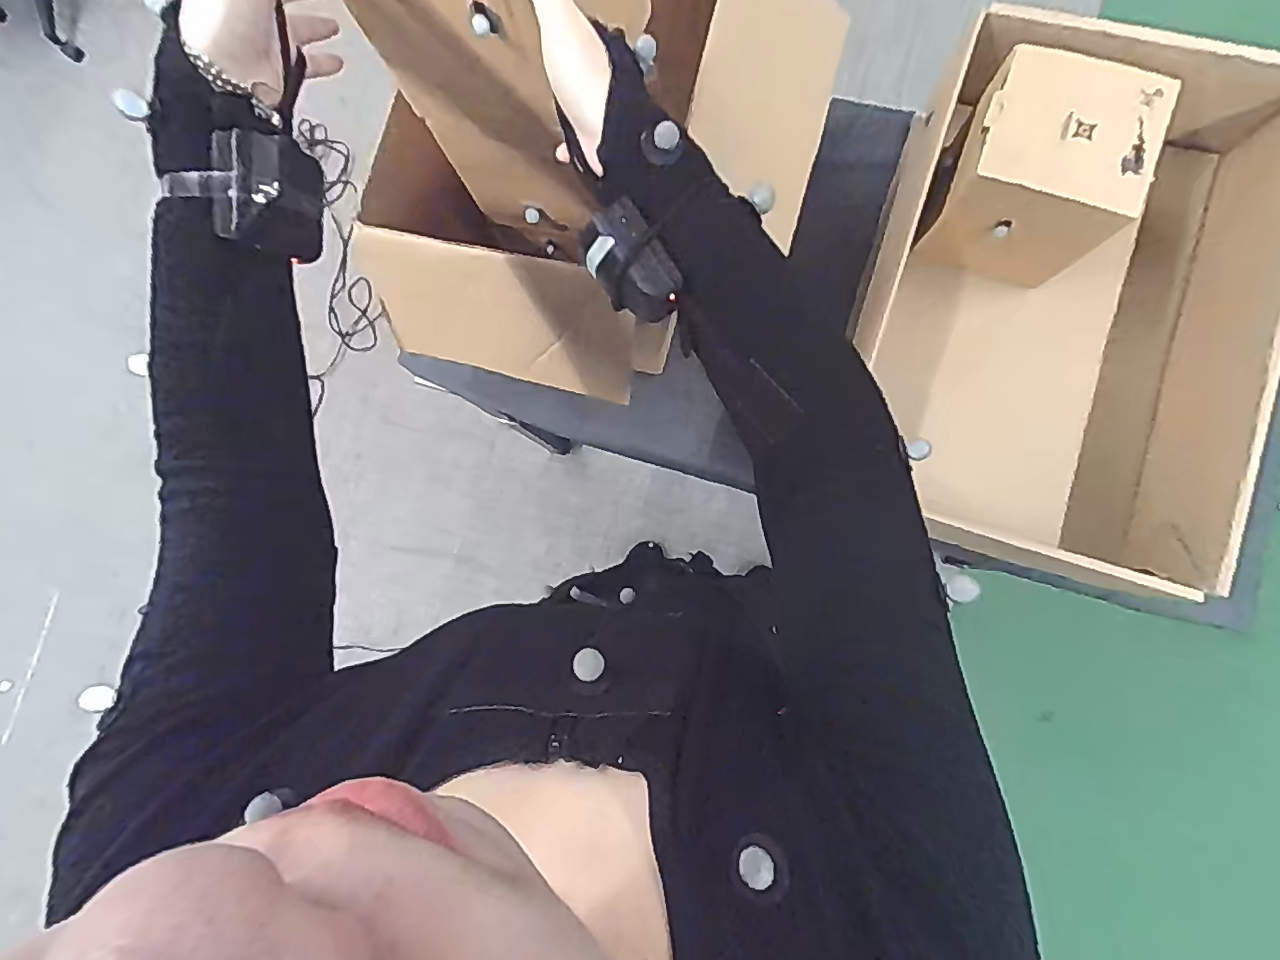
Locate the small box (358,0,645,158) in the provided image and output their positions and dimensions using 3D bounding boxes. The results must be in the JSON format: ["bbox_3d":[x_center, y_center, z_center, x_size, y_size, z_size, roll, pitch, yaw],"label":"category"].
[{"bbox_3d":[-0.108,-0.395,0.423,0.179,0.176,0.168,21,87,6],"label":"small box"}]
